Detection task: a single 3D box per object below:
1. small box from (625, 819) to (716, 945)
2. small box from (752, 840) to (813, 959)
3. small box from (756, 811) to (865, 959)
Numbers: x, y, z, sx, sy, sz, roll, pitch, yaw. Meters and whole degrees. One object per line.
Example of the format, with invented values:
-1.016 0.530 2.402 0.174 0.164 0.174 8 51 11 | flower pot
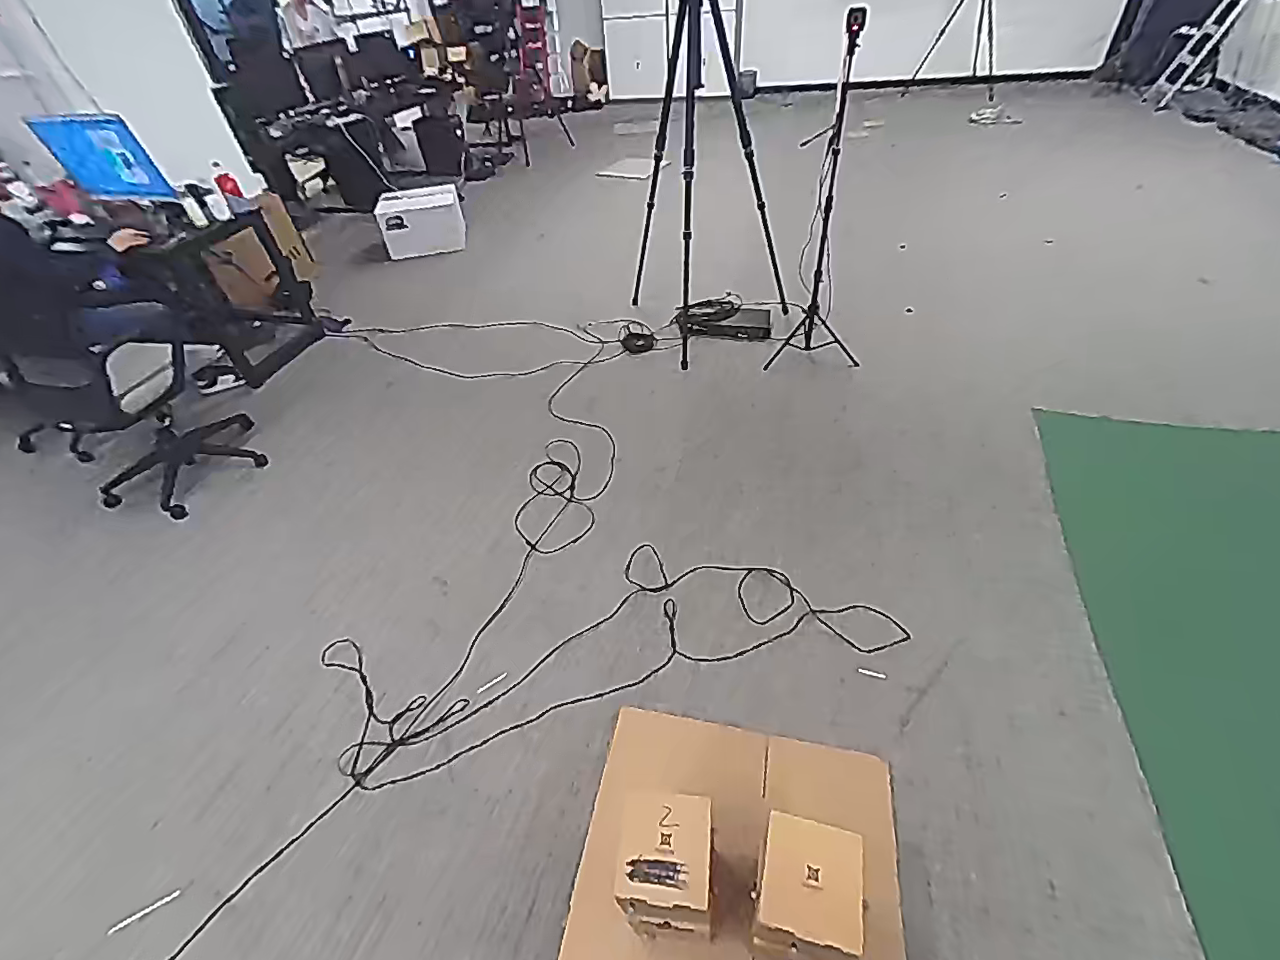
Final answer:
0.072 0.846 1.136 0.168 0.176 0.179 2 44 10 | small box
0.318 0.864 1.089 0.168 0.176 0.179 4 45 14 | small box
0.306 0.742 0.982 0.168 0.176 0.179 7 46 15 | small box
